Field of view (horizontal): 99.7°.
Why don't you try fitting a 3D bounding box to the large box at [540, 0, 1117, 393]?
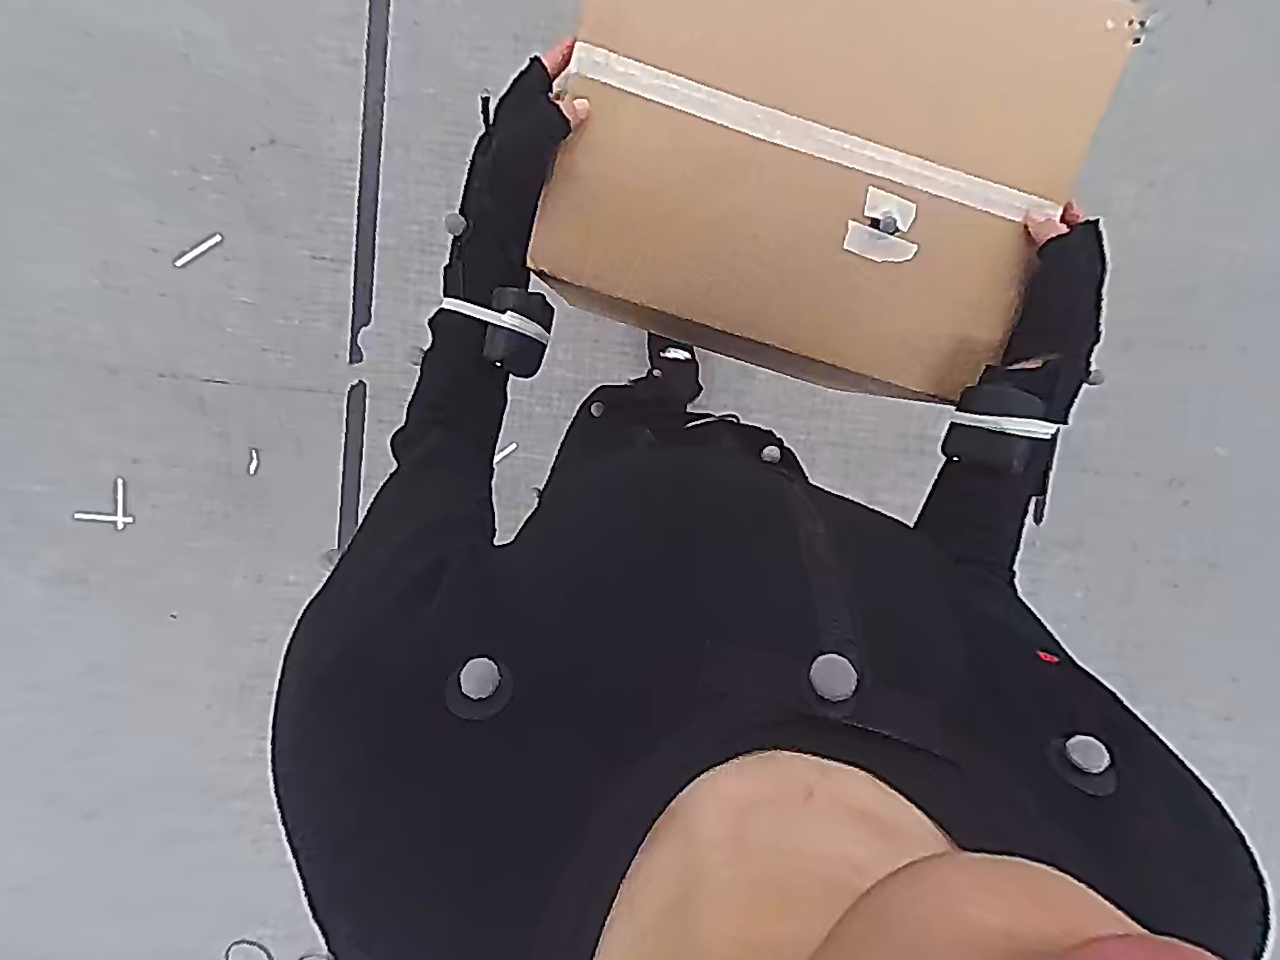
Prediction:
[{"bbox_3d":[0.139,-0.303,0.582,0.408,0.320,0.320,16,102,-5],"label":"large box"}]
